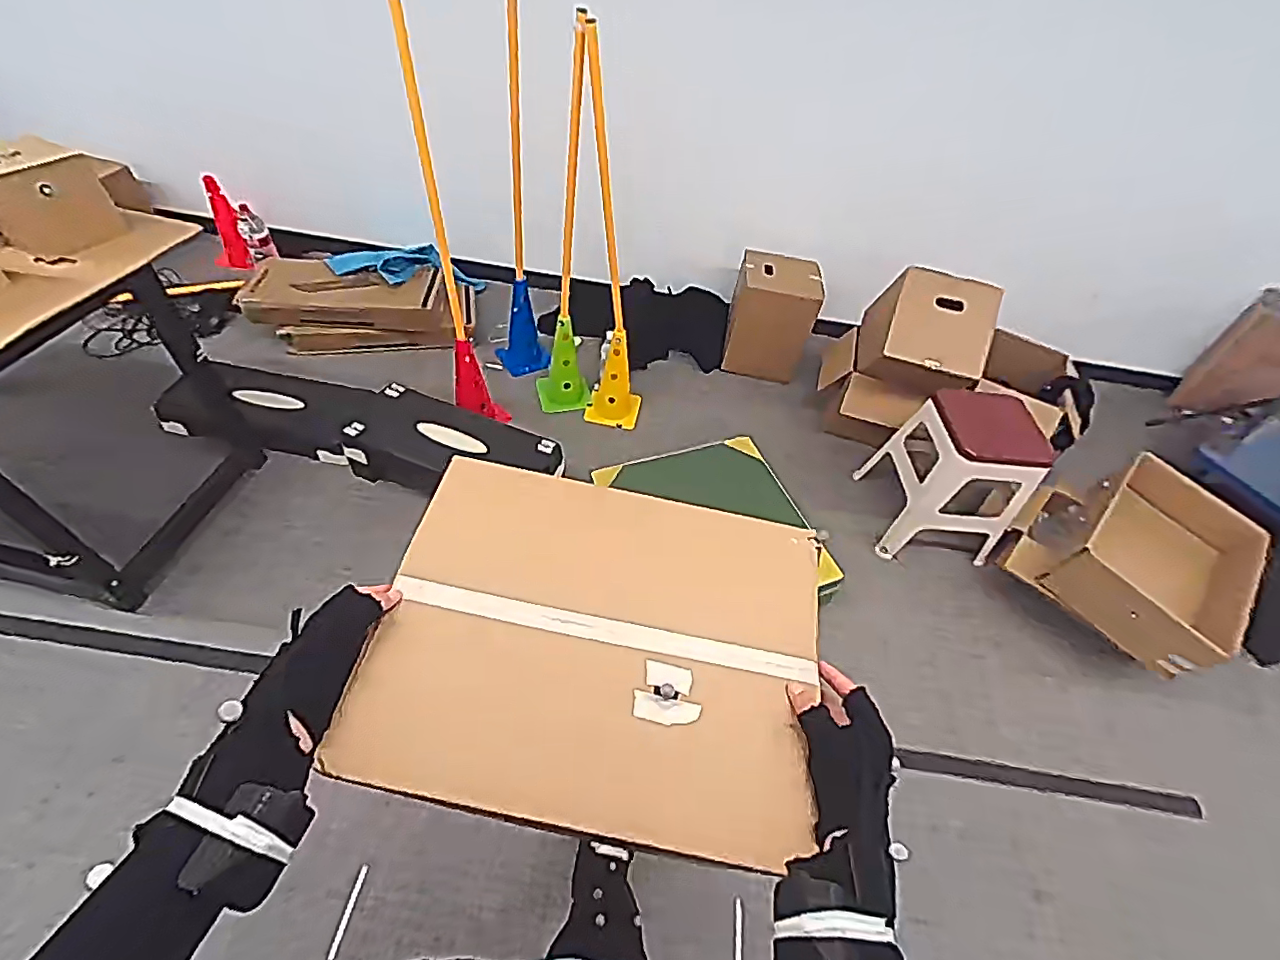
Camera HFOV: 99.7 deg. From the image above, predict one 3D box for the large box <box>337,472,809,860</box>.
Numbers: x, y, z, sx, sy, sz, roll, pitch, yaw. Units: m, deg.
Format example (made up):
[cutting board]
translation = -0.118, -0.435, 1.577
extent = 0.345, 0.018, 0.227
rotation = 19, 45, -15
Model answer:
[large box]
translation = -0.050, 0.232, 0.647
extent = 0.408, 0.320, 0.320
rotation = 12, 56, 1
